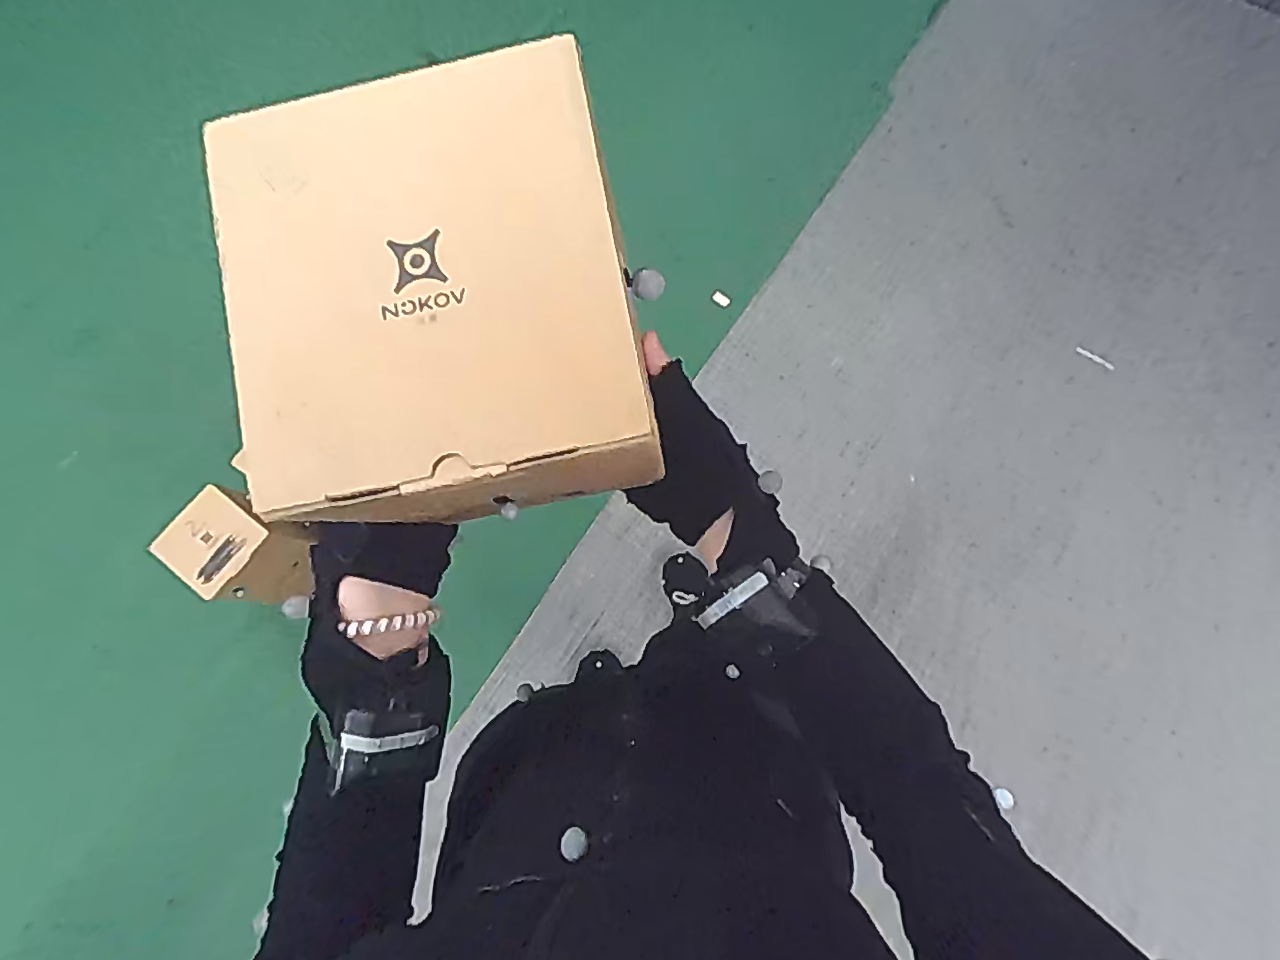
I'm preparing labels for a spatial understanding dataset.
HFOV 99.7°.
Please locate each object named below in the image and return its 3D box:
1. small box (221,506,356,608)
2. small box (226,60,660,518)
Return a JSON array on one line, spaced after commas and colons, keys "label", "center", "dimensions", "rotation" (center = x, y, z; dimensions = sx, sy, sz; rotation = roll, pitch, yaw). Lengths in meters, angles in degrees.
[{"label": "small box", "center": [-0.832, 0.189, 1.302], "dimensions": [0.179, 0.176, 0.168], "rotation": [38, 79, 9]}, {"label": "small box", "center": [-0.085, -0.078, 0.312], "dimensions": [0.168, 0.176, 0.179], "rotation": [-13, 85, 3]}]
